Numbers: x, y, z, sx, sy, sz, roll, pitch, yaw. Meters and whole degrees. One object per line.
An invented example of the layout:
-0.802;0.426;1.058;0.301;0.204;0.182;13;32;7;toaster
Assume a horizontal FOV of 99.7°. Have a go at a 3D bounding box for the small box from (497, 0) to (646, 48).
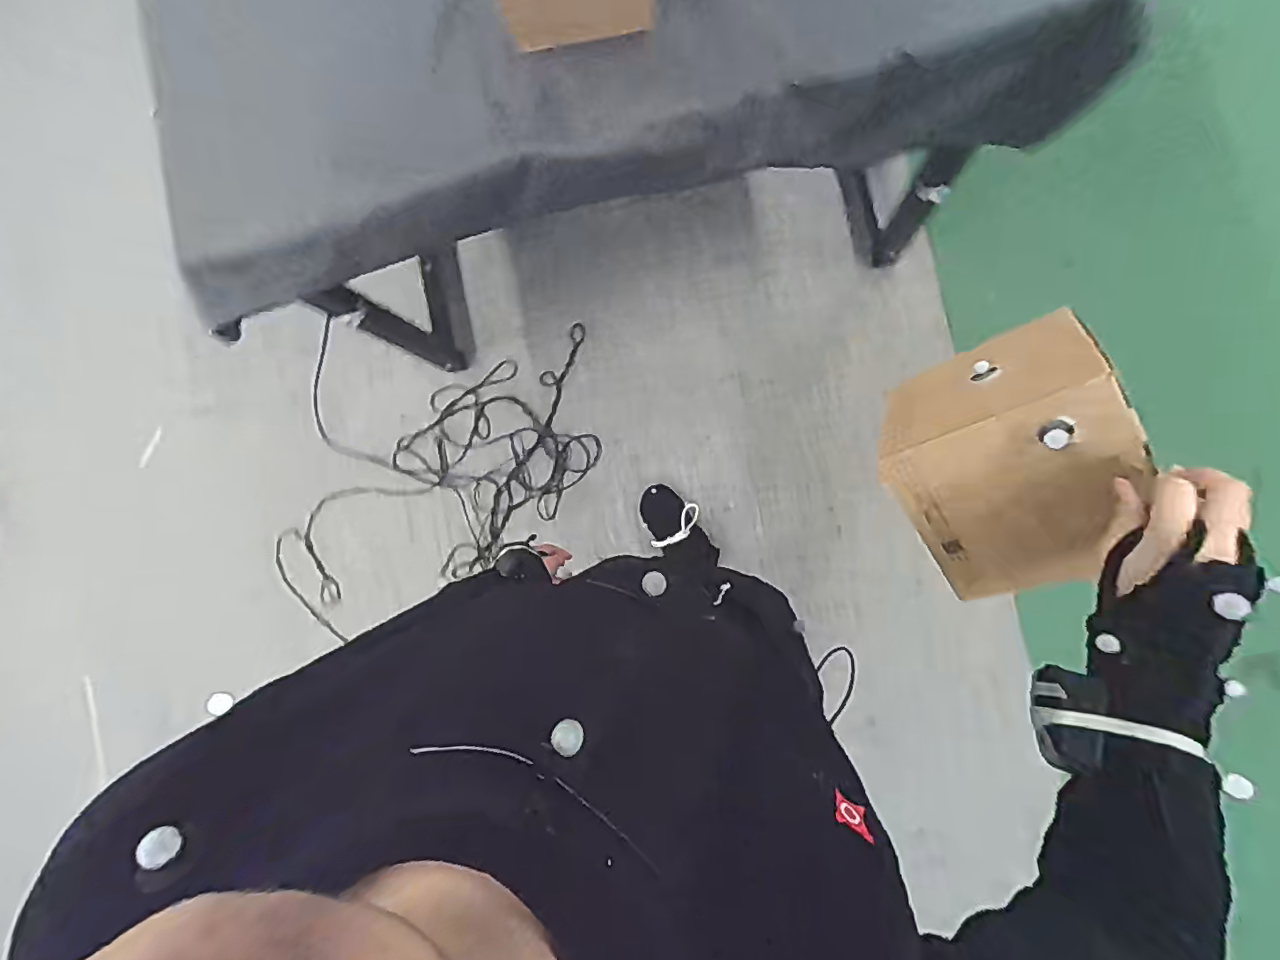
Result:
-0.087;-0.633;0.599;0.179;0.176;0.168;-5;86;9;small box
